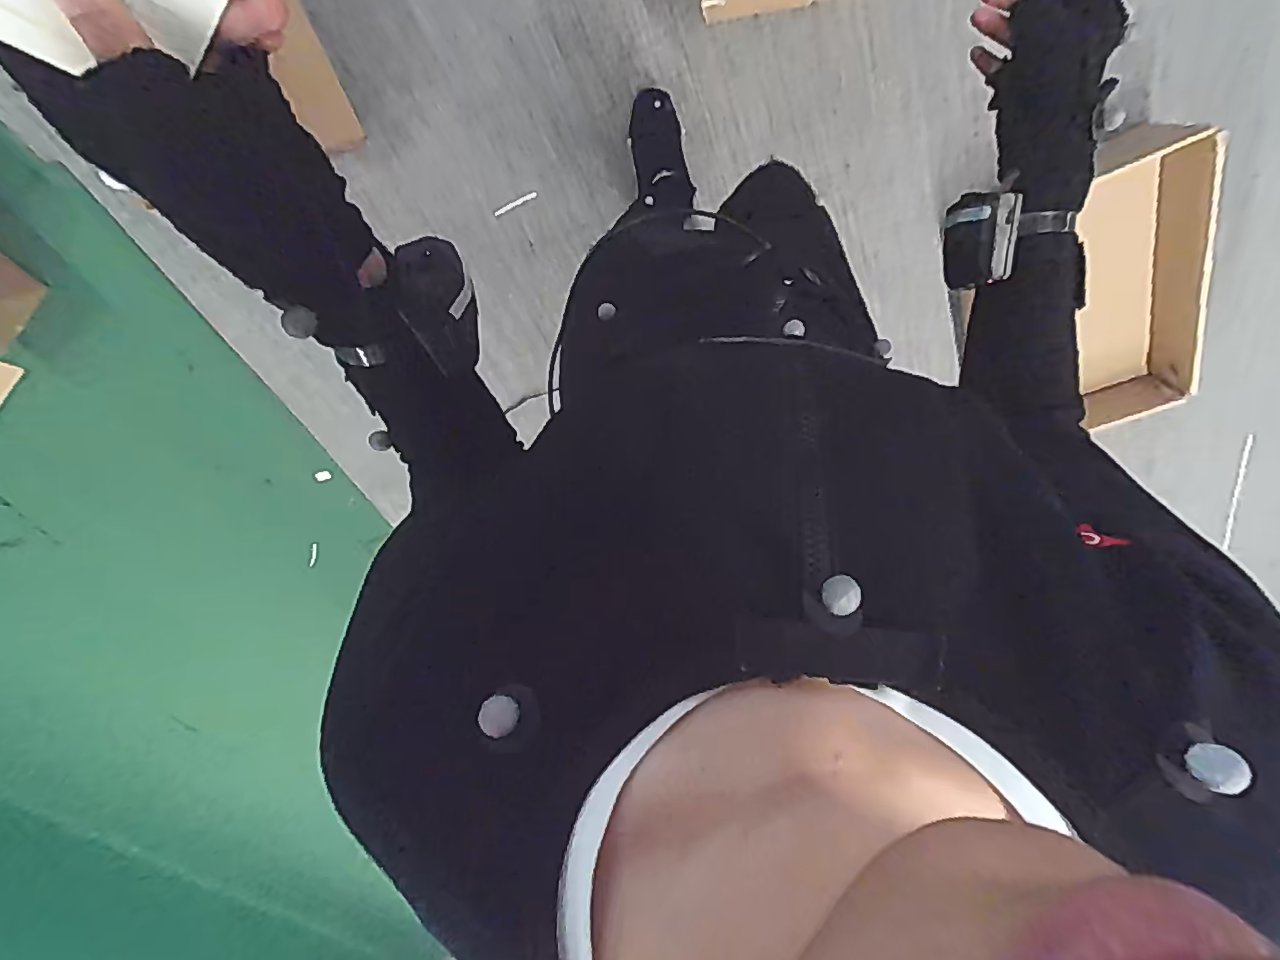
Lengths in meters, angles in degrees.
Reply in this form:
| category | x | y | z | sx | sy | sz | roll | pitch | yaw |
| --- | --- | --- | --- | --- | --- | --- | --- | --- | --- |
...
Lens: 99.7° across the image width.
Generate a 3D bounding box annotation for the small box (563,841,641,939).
| category | x | y | z | sx | sy | sz | roll | pitch | yaw |
| --- | --- | --- | --- | --- | --- | --- | --- | --- | --- |
| small box | -0.097 | 1.100 | 1.459 | 0.168 | 0.176 | 0.179 | -12 | 124 | 10 |
